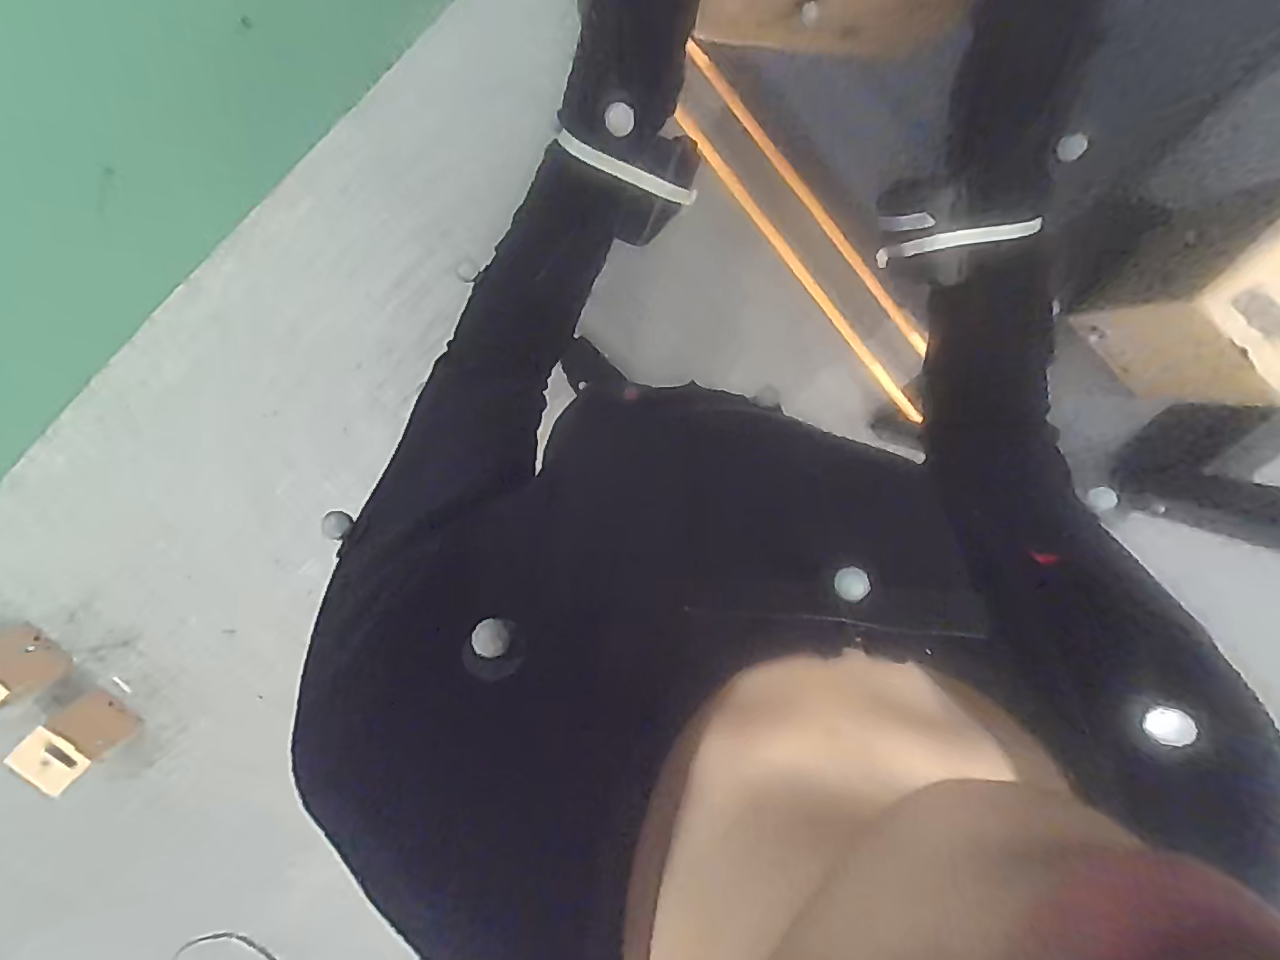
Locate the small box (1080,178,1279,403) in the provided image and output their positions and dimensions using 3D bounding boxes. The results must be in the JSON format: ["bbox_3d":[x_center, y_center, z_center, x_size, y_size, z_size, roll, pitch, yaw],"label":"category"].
[{"bbox_3d":[0.672,-0.209,0.630,0.168,0.176,0.179,42,97,-8],"label":"small box"}]

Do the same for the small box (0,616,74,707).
[{"bbox_3d":[-1.767,0.517,1.509,0.179,0.176,0.168,-39,99,6],"label":"small box"}]
